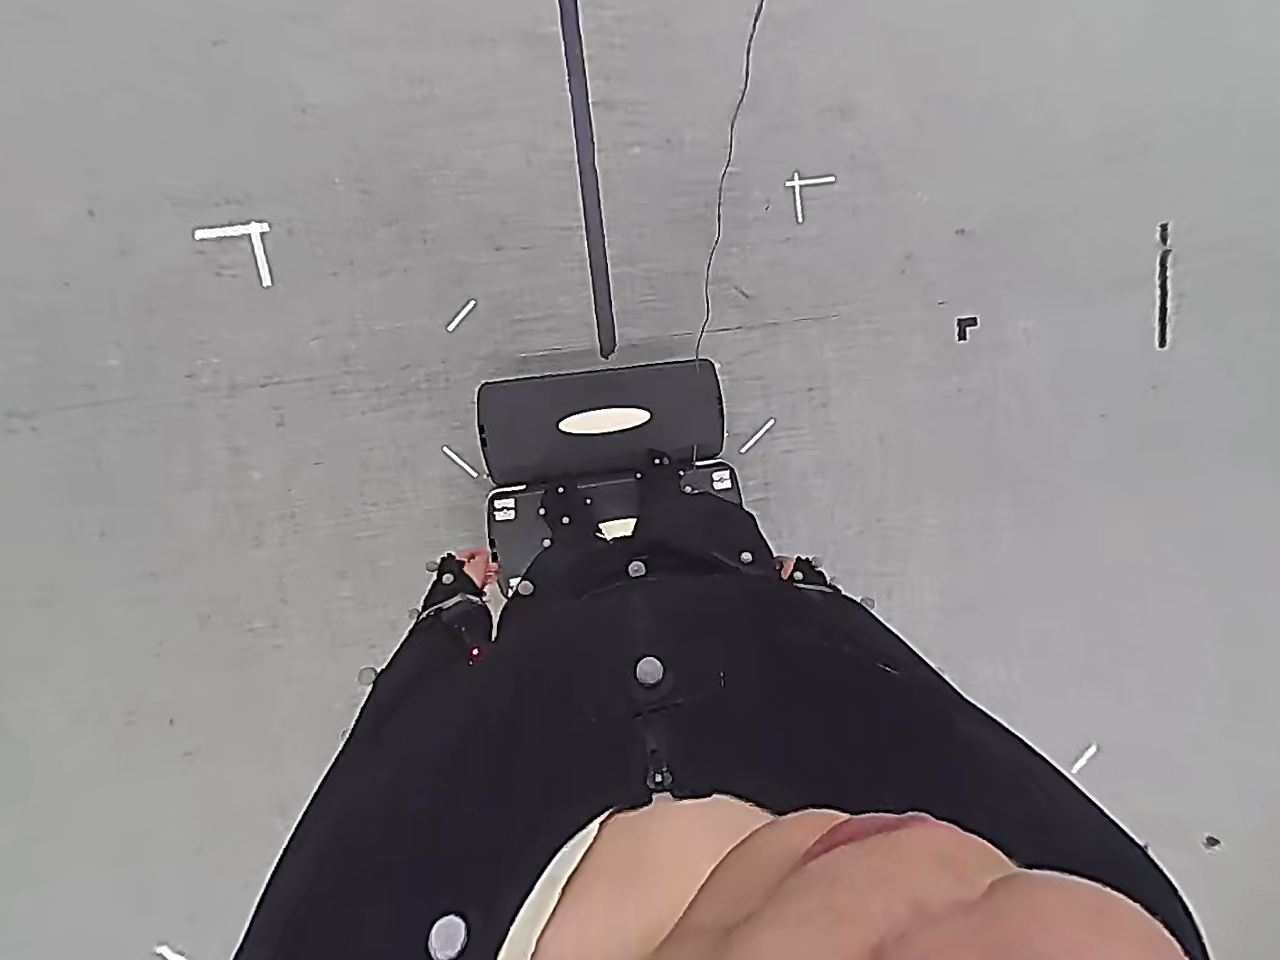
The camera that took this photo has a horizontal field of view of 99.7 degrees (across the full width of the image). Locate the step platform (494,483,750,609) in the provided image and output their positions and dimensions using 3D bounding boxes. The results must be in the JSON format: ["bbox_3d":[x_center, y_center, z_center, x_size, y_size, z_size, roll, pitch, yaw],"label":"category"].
[{"bbox_3d":[-0.046,0.173,1.478,0.684,0.204,0.286,-4,94,-7],"label":"step platform"}]
